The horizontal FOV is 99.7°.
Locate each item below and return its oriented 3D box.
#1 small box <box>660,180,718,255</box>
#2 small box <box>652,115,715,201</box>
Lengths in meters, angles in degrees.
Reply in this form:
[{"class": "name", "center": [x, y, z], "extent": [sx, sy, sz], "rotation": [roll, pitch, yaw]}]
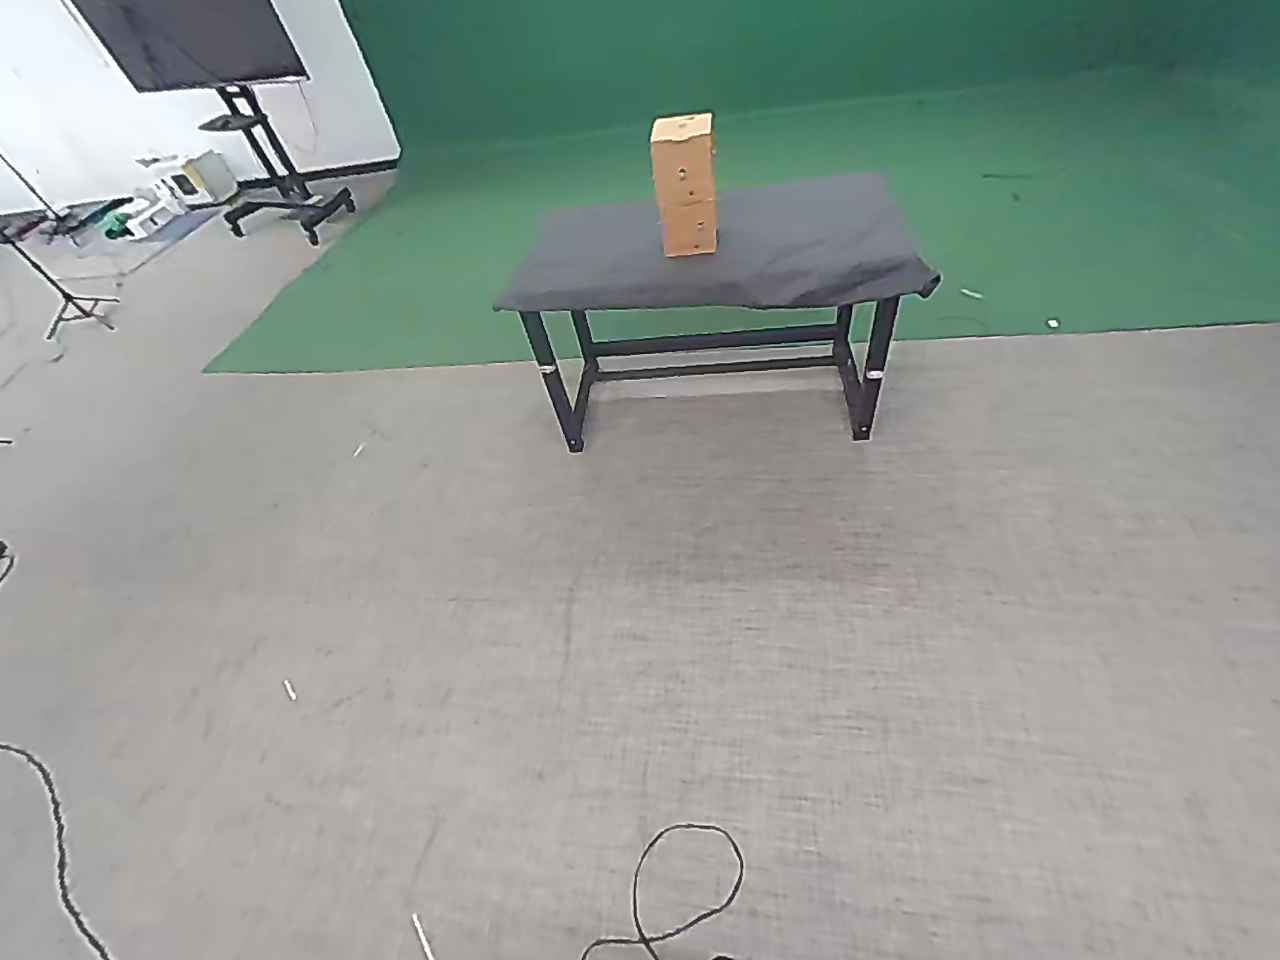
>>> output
[{"class": "small box", "center": [0.158, -0.821, 1.696], "extent": [0.168, 0.176, 0.179], "rotation": [-1, 48, 9]}, {"class": "small box", "center": [0.133, -0.931, 1.577], "extent": [0.168, 0.176, 0.179], "rotation": [0, 51, 9]}]
